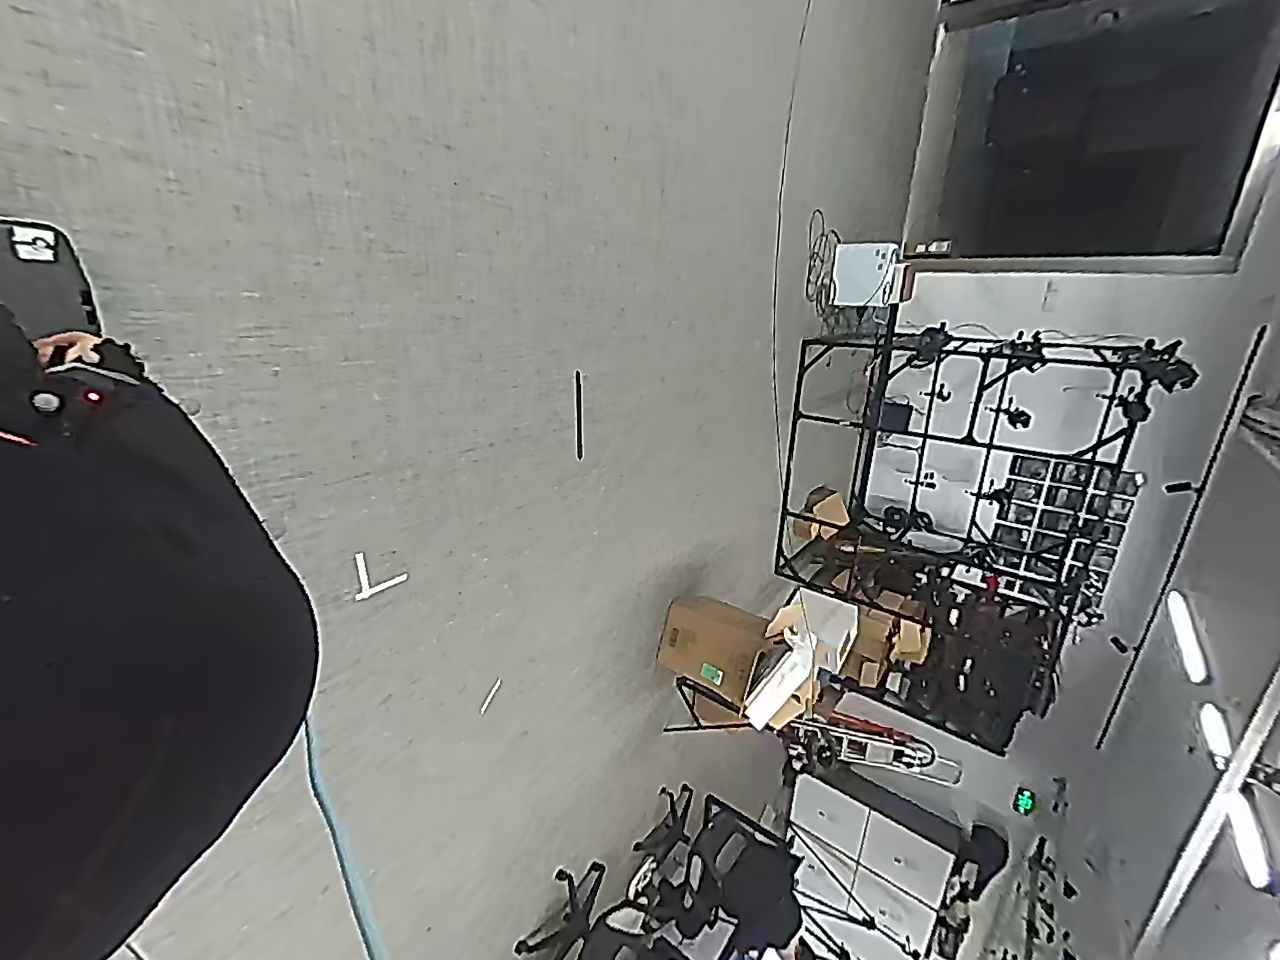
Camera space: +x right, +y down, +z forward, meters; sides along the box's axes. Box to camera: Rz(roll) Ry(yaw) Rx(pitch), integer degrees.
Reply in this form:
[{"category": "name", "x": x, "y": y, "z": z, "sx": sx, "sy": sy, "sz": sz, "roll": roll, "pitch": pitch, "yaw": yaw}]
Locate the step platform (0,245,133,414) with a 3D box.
[{"category": "step platform", "x": -1.237, "y": -0.240, "z": 0.818, "sx": 0.684, "sy": 0.204, "sz": 0.286, "roll": -15, "pitch": 114, "yaw": -52}]
